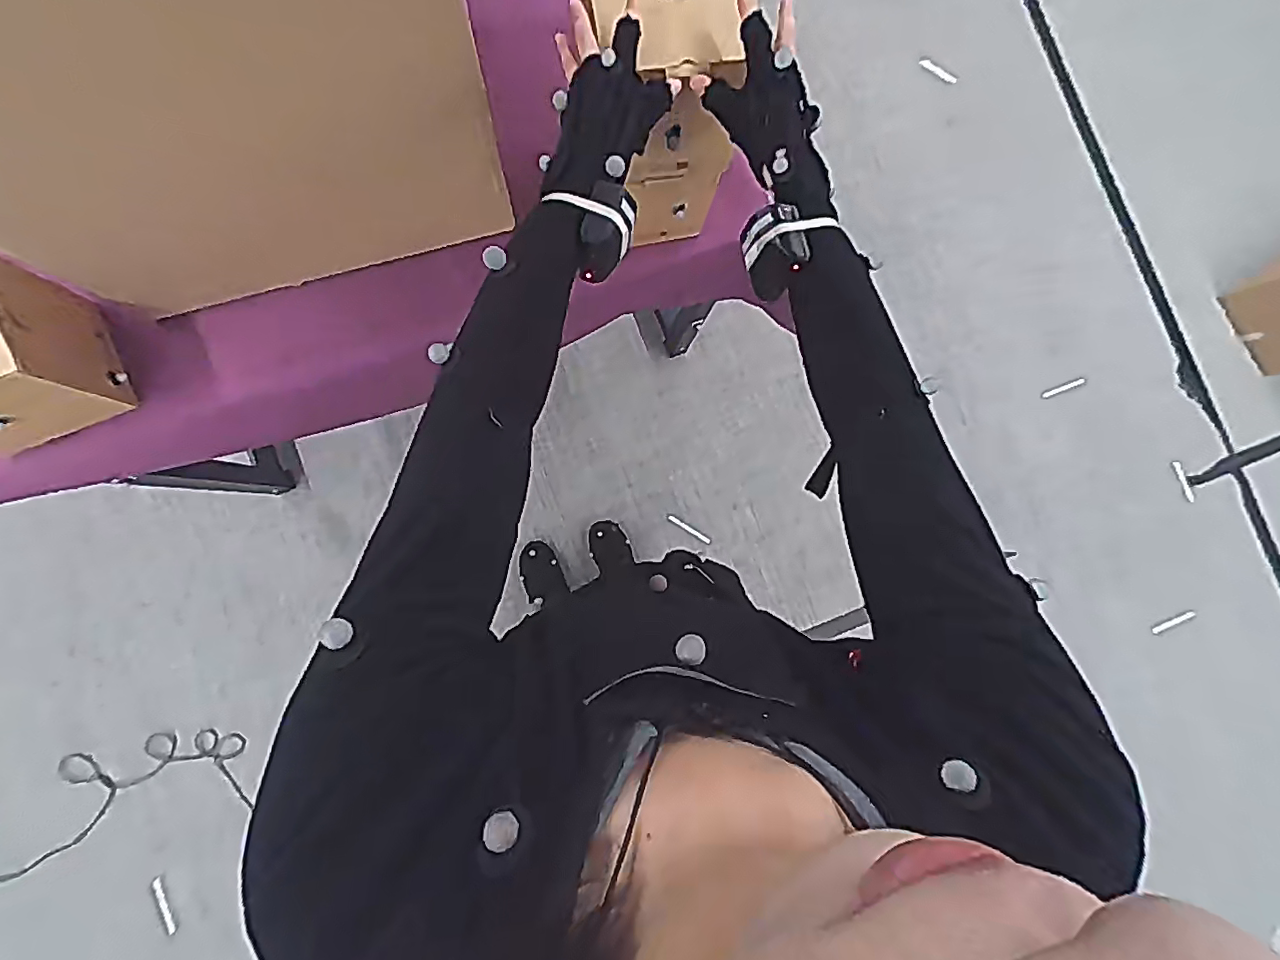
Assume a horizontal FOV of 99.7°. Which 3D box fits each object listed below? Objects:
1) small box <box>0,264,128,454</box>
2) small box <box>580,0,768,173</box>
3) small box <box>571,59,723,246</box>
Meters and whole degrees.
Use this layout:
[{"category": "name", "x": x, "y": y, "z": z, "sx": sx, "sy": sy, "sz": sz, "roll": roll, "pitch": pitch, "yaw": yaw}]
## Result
[{"category": "small box", "x": -0.783, "y": -0.146, "z": 0.652, "sx": 0.179, "sy": 0.176, "sz": 0.168, "roll": -25, "pitch": 87, "yaw": -8}, {"category": "small box", "x": 0.026, "y": -0.469, "z": 0.600, "sx": 0.168, "sy": 0.176, "sz": 0.179, "roll": -9, "pitch": 87, "yaw": -6}, {"category": "small box", "x": 0.003, "y": -0.452, "z": 0.761, "sx": 0.168, "sy": 0.176, "sz": 0.179, "roll": -13, "pitch": 86, "yaw": -7}]
